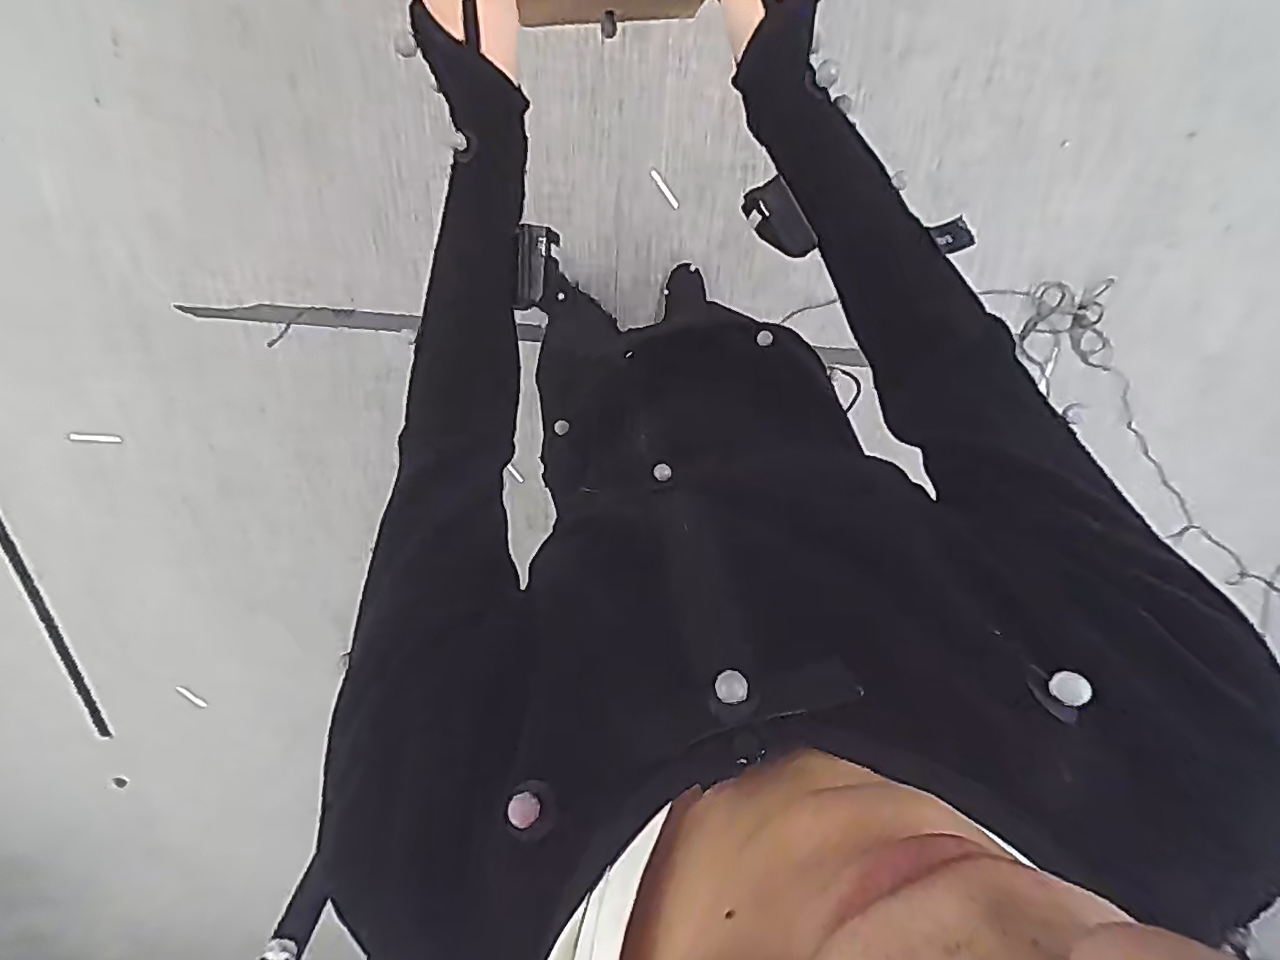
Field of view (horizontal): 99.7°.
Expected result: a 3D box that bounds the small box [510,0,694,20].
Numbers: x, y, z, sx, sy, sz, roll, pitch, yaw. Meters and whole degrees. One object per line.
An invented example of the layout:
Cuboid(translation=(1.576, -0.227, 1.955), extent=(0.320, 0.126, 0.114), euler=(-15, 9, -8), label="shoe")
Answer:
Cuboid(translation=(-0.029, -0.478, 0.416), extent=(0.179, 0.176, 0.168), euler=(-5, 121, -2), label="small box")
